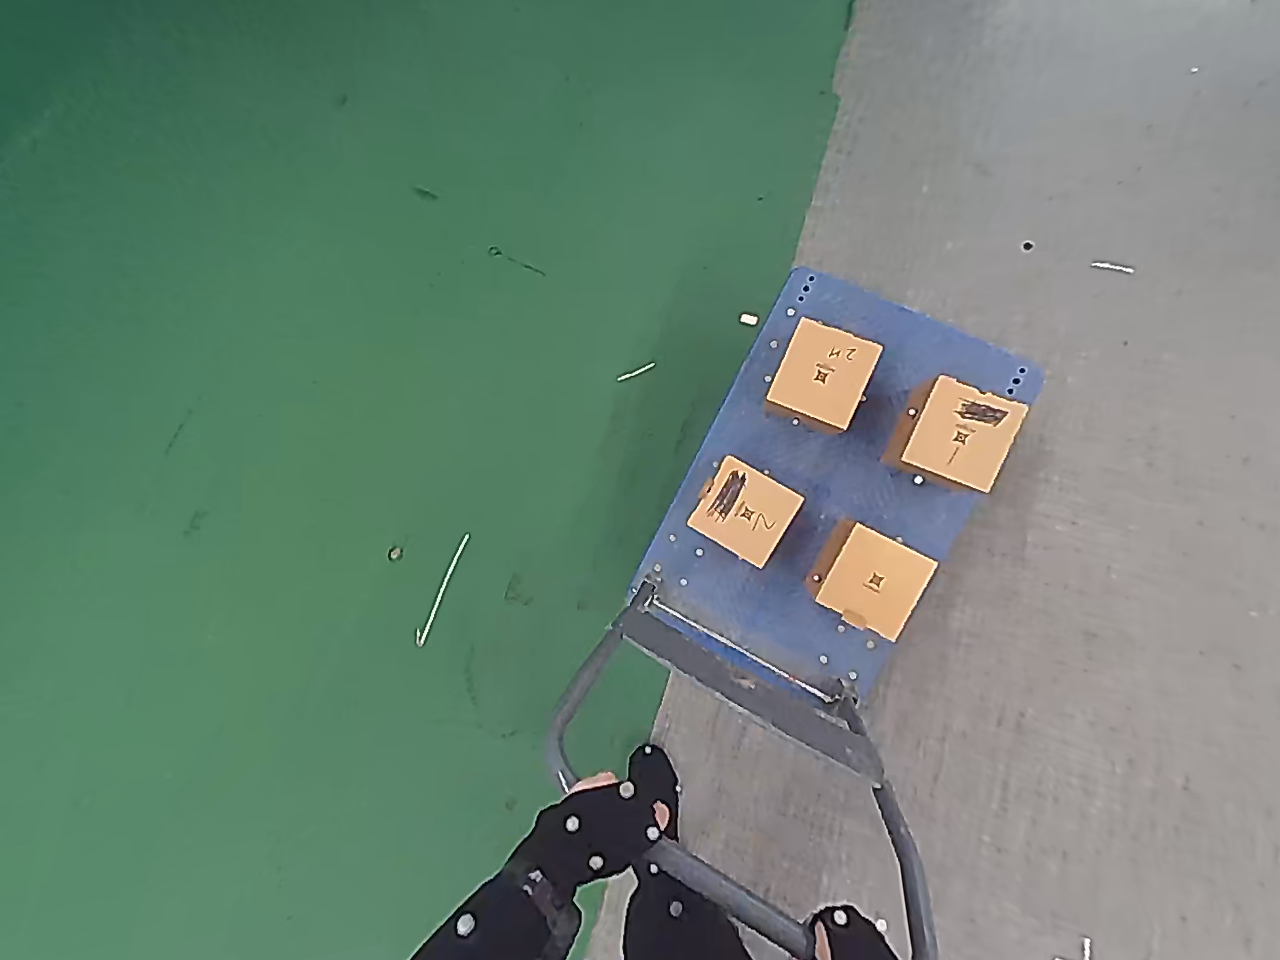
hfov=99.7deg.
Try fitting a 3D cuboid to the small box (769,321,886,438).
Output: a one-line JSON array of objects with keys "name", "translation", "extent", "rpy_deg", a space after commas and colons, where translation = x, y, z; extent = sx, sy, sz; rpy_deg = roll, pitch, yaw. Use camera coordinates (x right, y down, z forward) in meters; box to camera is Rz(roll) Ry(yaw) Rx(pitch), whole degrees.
[{"name": "small box", "translation": [0.376, -0.198, 1.121], "extent": [0.168, 0.176, 0.179], "rpy_deg": [25, 94, 9]}]

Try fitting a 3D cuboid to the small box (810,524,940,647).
[{"name": "small box", "translation": [0.464, 0.202, 1.103], "extent": [0.168, 0.176, 0.179], "rpy_deg": [28, 95, 9]}]

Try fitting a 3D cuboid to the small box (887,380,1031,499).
[{"name": "small box", "translation": [0.619, -0.075, 1.077], "extent": [0.168, 0.176, 0.179], "rpy_deg": [24, 94, 10]}]
